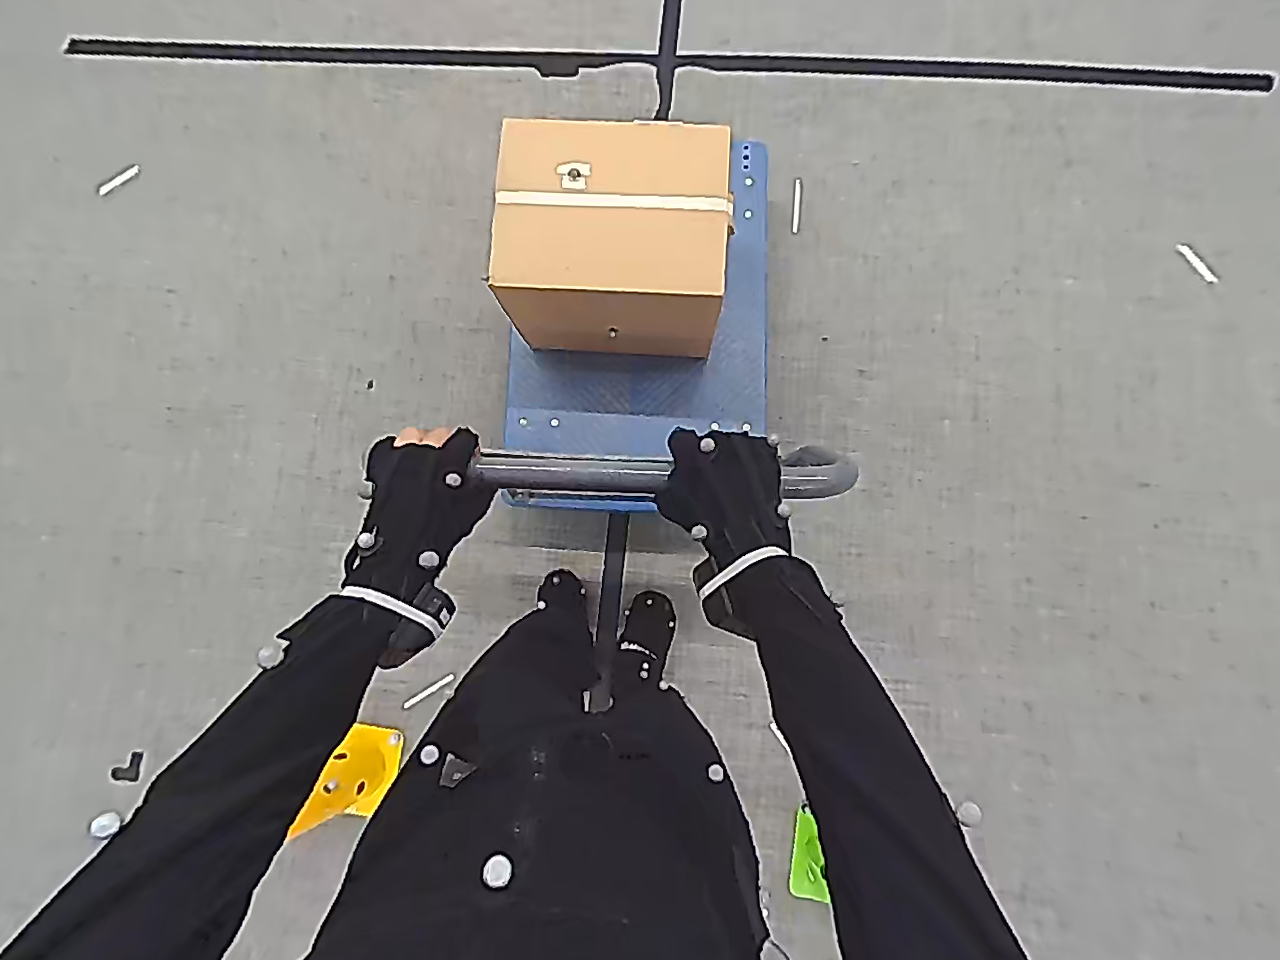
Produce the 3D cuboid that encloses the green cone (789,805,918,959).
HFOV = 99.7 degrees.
[{"bbox_3d":[0.439,0.828,1.045,0.202,0.368,0.200,9,83,2],"label":"green cone"}]

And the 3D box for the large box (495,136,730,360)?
[{"bbox_3d":[-0.037,-0.442,1.090,0.408,0.320,0.320,4,83,3],"label":"large box"}]
